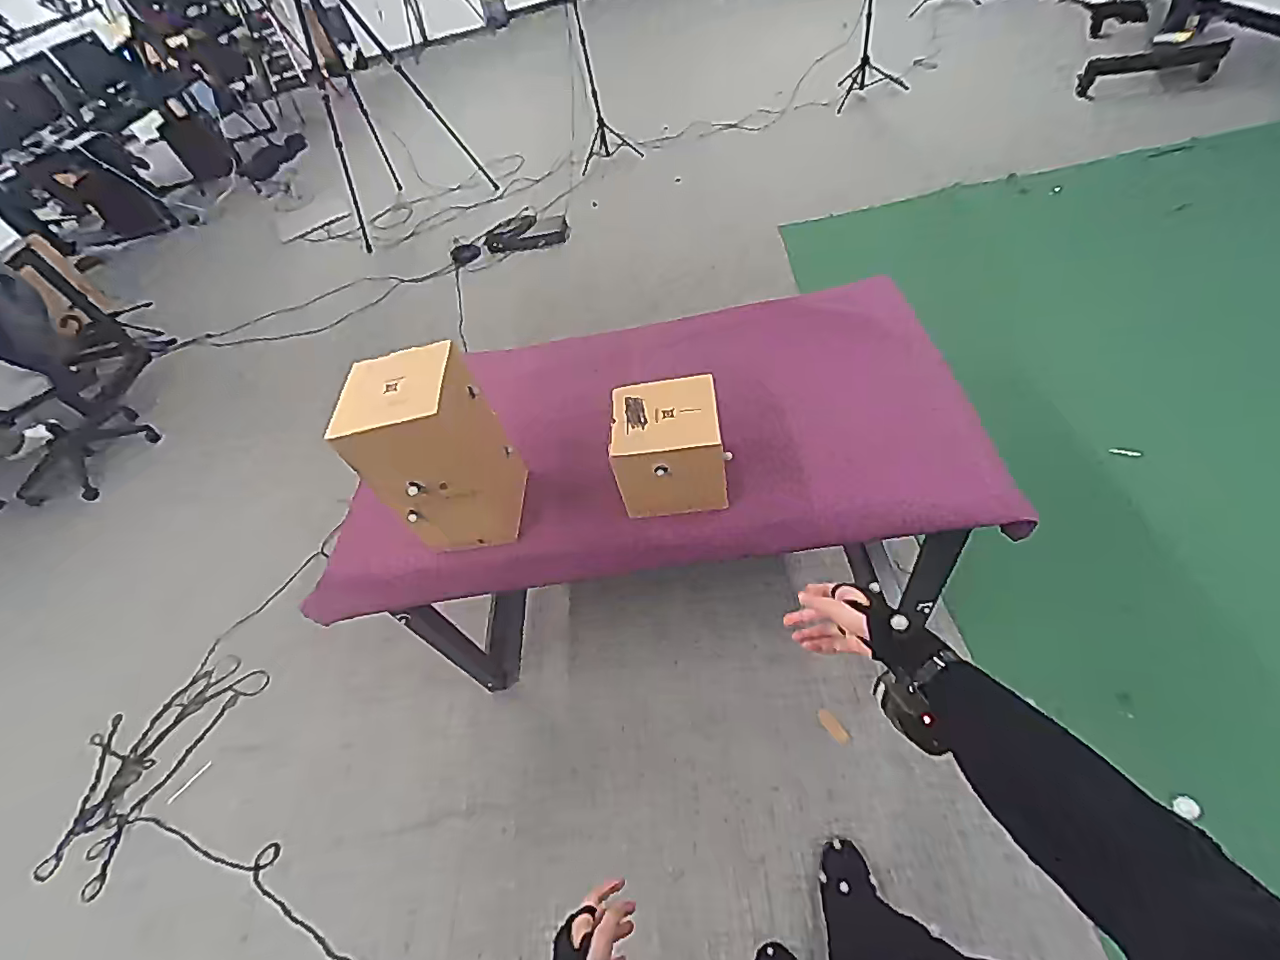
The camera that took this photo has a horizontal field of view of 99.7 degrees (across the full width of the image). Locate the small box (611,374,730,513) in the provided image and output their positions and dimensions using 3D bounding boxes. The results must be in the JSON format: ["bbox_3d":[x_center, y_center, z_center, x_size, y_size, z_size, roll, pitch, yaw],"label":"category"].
[{"bbox_3d":[0.056,-0.057,0.930,0.179,0.176,0.168,-6,50,8],"label":"small box"}]

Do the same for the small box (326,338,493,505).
[{"bbox_3d":[-0.339,-0.088,0.838,0.168,0.176,0.179,-12,49,5],"label":"small box"}]
